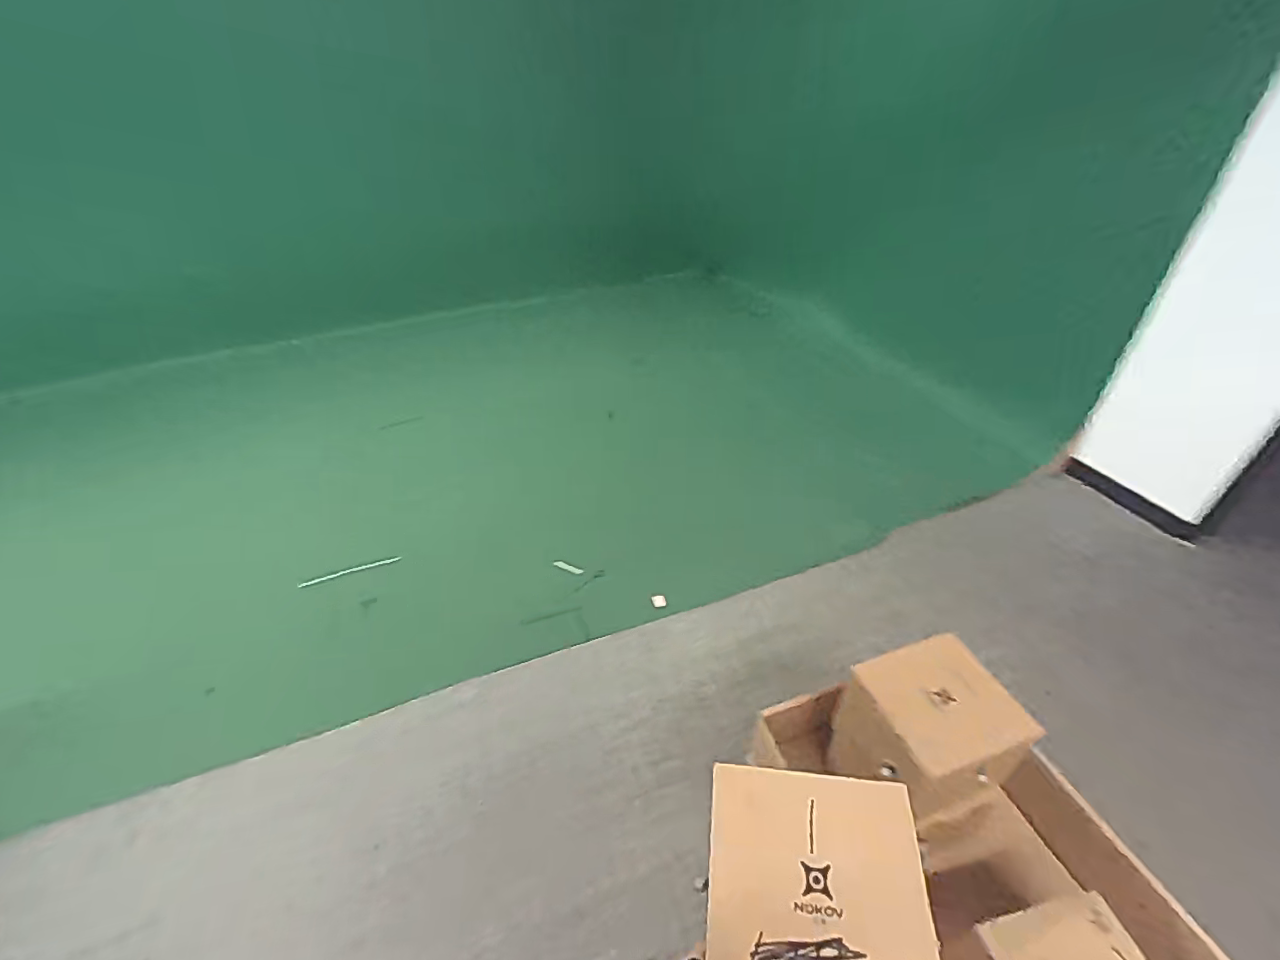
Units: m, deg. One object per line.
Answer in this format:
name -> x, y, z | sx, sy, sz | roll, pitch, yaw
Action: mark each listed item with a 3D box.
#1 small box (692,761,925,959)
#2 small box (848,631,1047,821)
small box -> 0.136, 0.375, 0.471 | 0.168, 0.176, 0.179 | 0, 43, 10
small box -> 0.422, 0.355, 0.782 | 0.179, 0.176, 0.168 | -14, 40, -11
